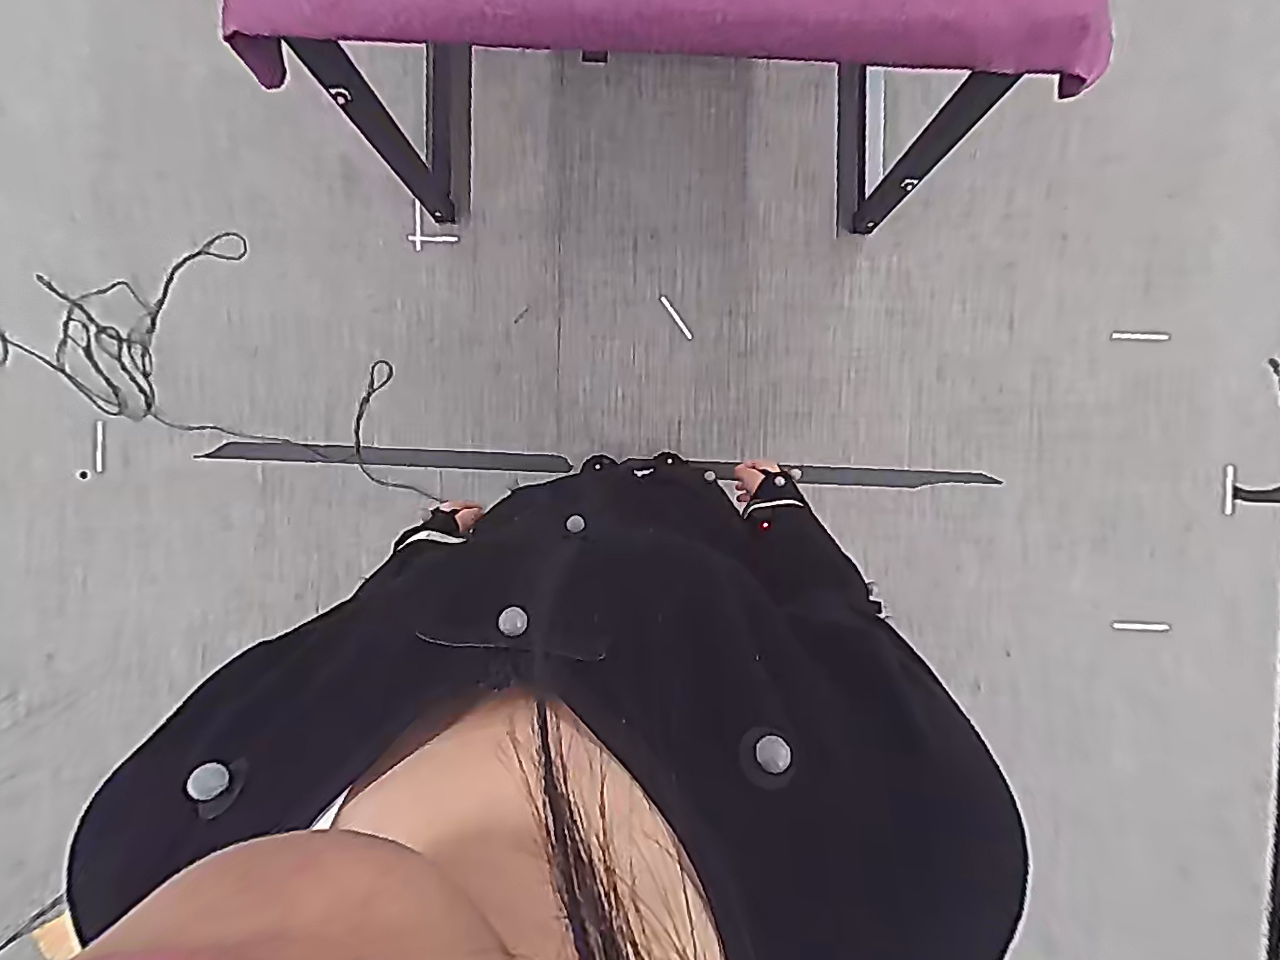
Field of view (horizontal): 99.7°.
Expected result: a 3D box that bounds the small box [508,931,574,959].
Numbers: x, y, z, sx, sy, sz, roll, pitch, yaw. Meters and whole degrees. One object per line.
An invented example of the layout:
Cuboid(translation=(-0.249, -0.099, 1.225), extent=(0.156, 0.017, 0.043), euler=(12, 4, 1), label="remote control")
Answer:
Cuboid(translation=(-0.263, 1.360, 1.435), extent=(0.168, 0.176, 0.179), euler=(-8, 91, -1), label="small box")
